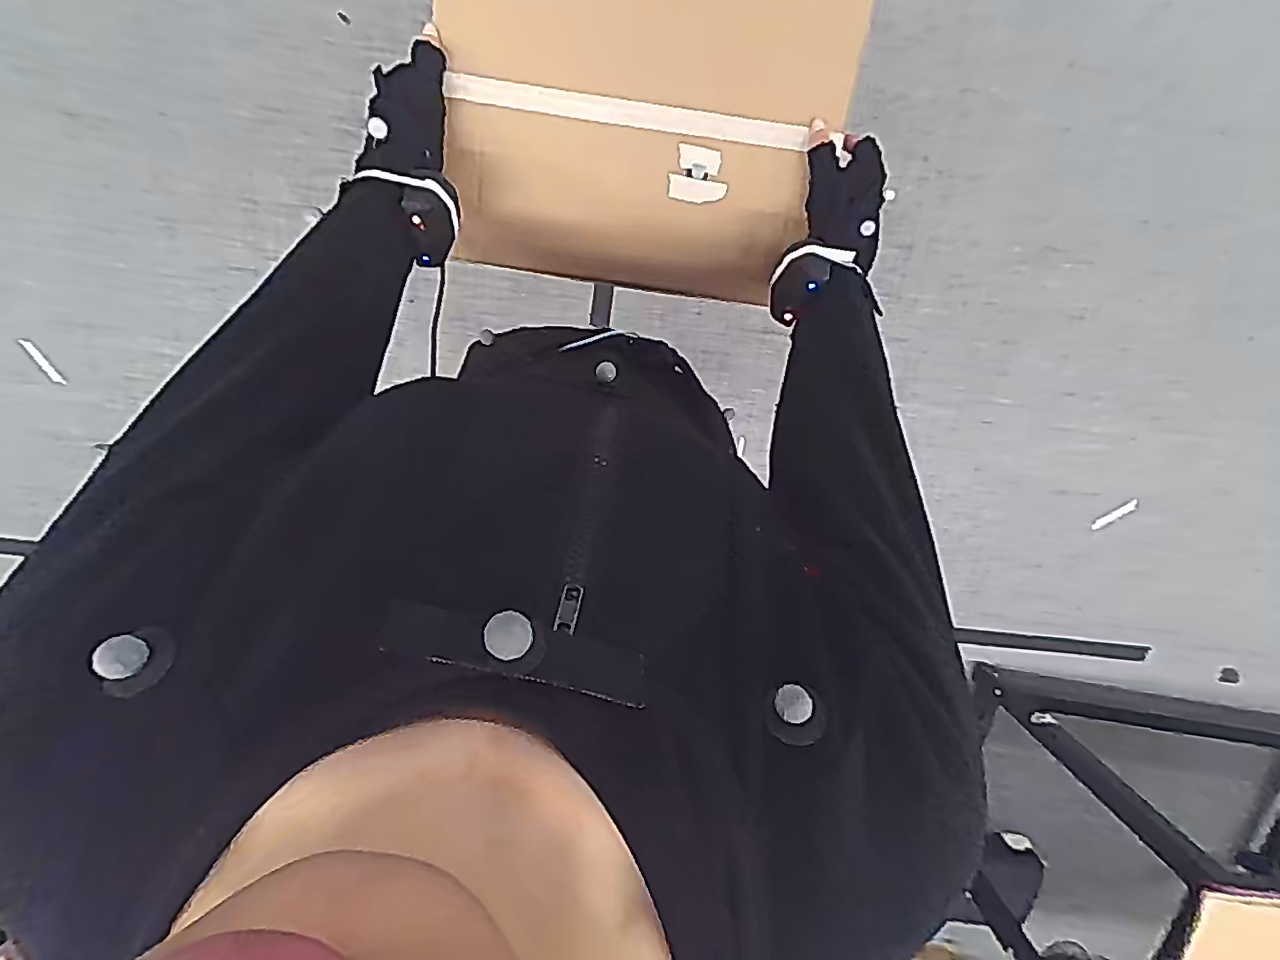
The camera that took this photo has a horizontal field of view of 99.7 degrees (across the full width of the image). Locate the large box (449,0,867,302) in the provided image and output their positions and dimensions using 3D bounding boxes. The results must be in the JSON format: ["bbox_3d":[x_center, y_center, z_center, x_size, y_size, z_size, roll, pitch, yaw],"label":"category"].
[{"bbox_3d":[0.004,-0.414,0.692,0.408,0.320,0.320,8,110,-3],"label":"large box"}]
